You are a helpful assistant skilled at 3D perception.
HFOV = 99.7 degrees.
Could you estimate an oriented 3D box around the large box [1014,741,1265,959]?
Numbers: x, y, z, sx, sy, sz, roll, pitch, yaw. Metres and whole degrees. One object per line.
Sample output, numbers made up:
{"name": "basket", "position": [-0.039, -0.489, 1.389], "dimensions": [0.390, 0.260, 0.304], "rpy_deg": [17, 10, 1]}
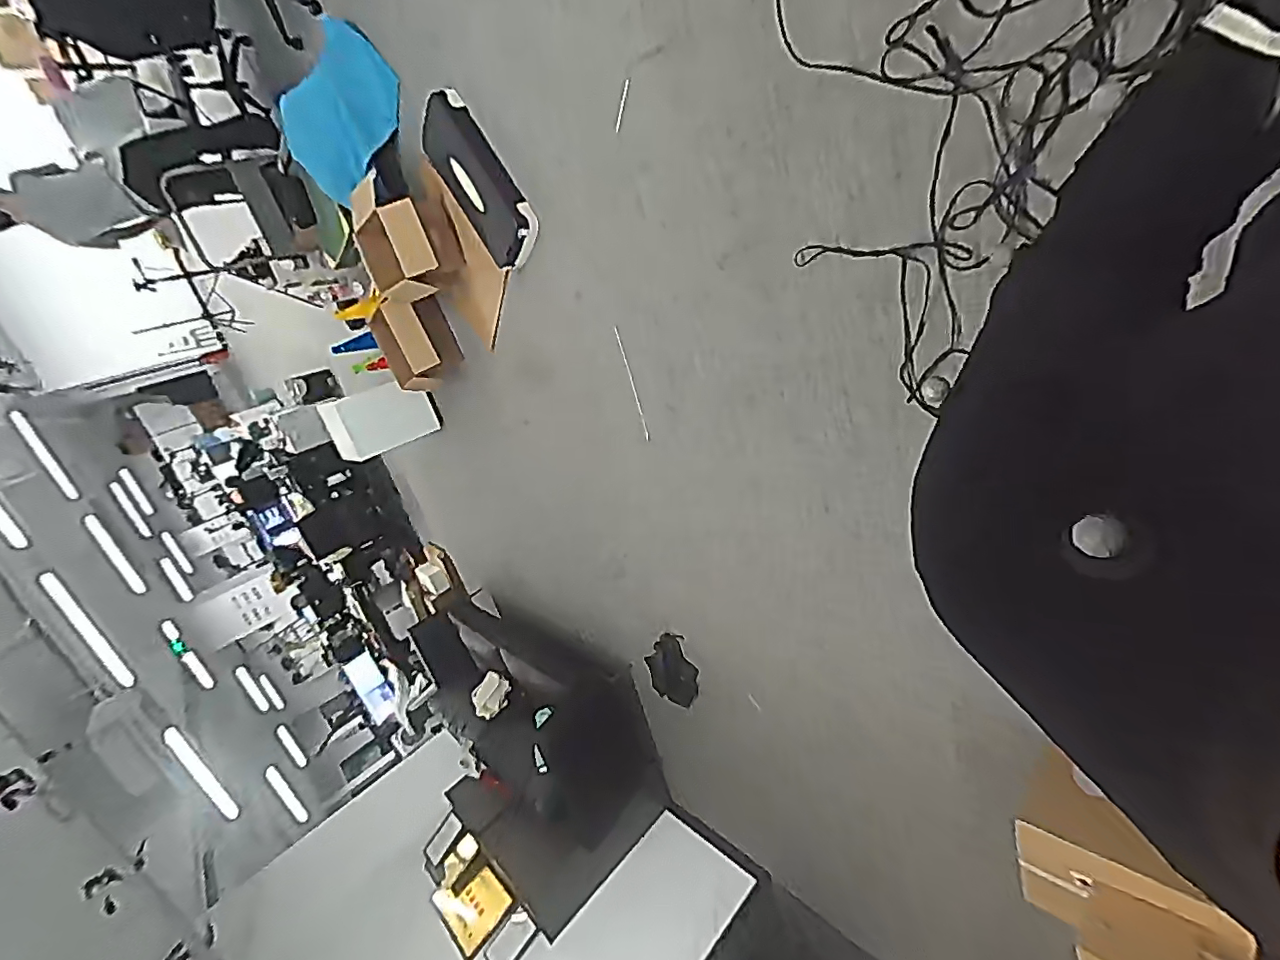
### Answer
{"name": "large box", "position": [1.208, 0.930, 1.319], "dimensions": [0.408, 0.320, 0.320], "rpy_deg": [6, 119, 51]}
